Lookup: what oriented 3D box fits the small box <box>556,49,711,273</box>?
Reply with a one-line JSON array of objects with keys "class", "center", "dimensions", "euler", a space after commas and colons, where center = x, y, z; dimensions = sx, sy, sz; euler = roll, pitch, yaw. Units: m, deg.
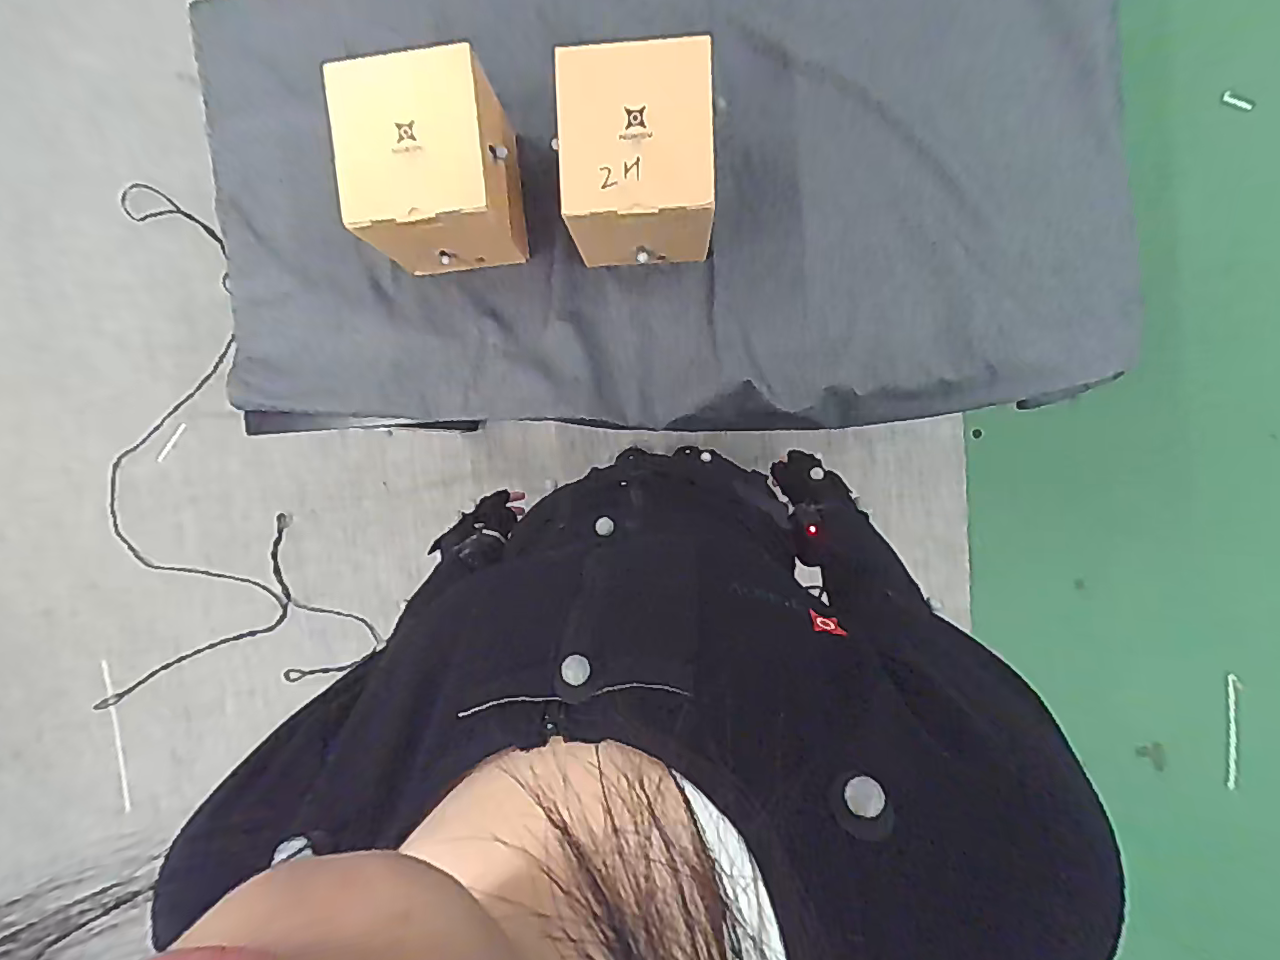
[{"class": "small box", "center": [-0.004, -0.368, 0.653], "dimensions": [0.168, 0.176, 0.179], "euler": [-1, 93, 3]}]

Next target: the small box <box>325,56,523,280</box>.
[{"class": "small box", "center": [-0.252, -0.368, 0.669], "dimensions": [0.168, 0.176, 0.179], "euler": [-6, 93, 3]}]
